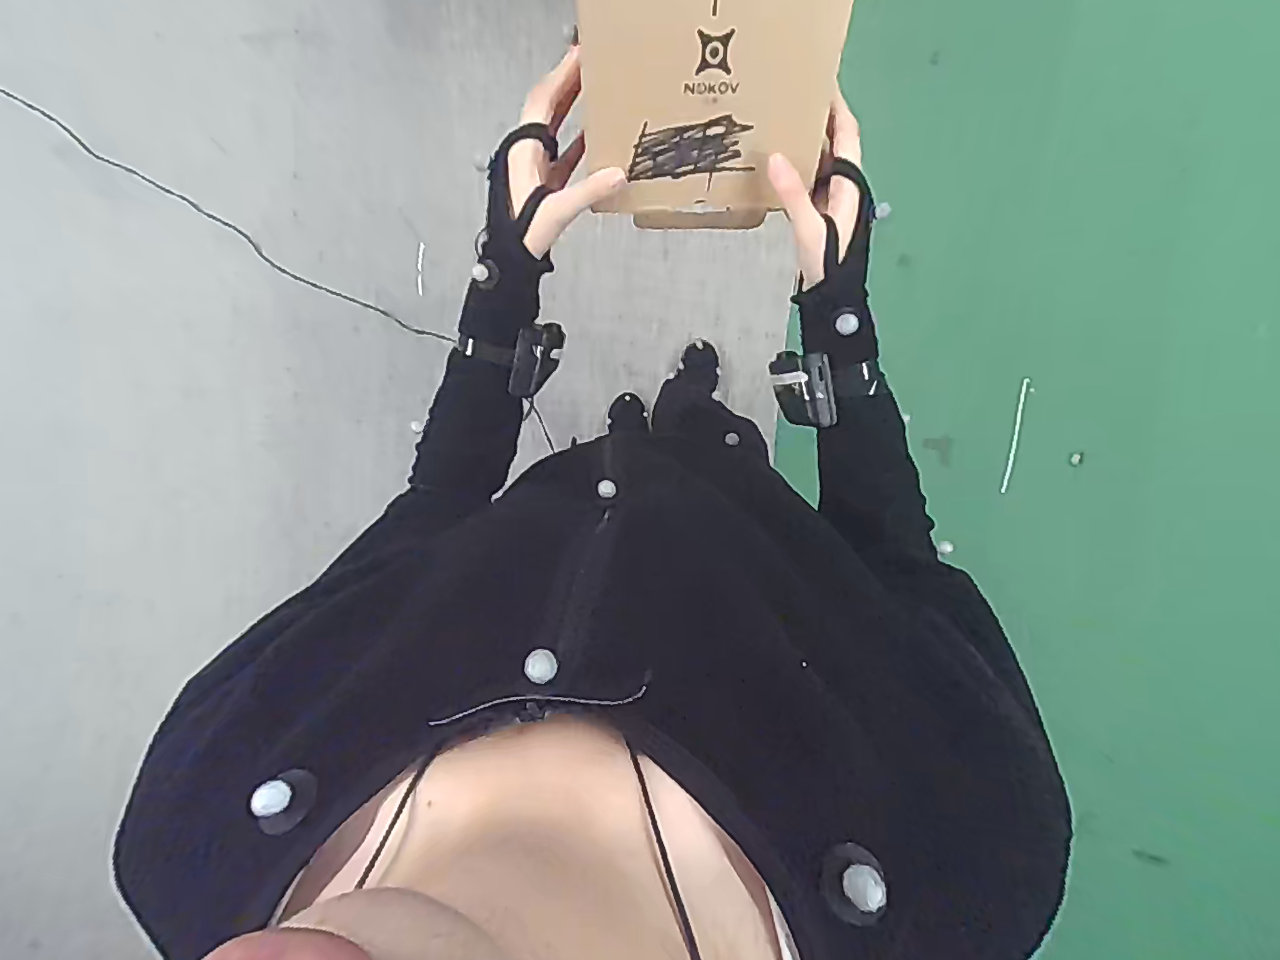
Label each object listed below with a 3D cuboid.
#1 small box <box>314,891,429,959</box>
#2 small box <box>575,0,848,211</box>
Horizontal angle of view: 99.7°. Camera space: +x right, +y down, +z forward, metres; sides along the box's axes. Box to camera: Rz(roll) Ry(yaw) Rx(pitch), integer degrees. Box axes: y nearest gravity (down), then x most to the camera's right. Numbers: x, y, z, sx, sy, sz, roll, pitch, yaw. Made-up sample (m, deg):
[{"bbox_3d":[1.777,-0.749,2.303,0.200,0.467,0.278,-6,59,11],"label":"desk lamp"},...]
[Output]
[{"bbox_3d":[-0.554,1.004,1.131,0.168,0.176,0.179,0,94,0],"label":"small box"},{"bbox_3d":[0.039,-0.322,0.399,0.168,0.176,0.179,-2,137,-2],"label":"small box"}]
